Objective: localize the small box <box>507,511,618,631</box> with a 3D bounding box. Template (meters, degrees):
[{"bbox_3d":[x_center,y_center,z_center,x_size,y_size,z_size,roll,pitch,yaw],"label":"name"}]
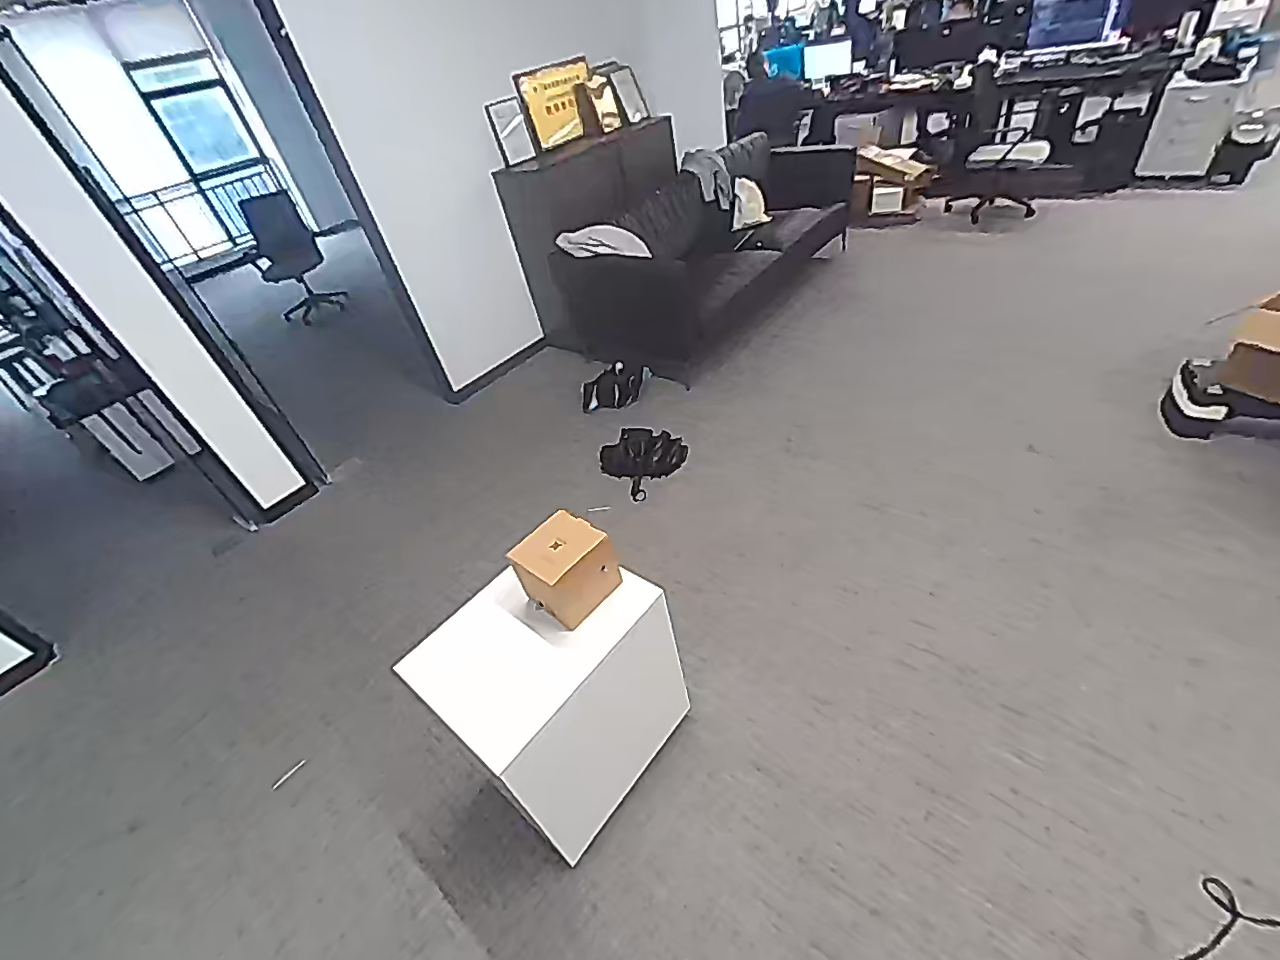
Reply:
[{"bbox_3d":[-0.169,0.209,1.250,0.168,0.176,0.179,22,52,37],"label":"small box"}]
